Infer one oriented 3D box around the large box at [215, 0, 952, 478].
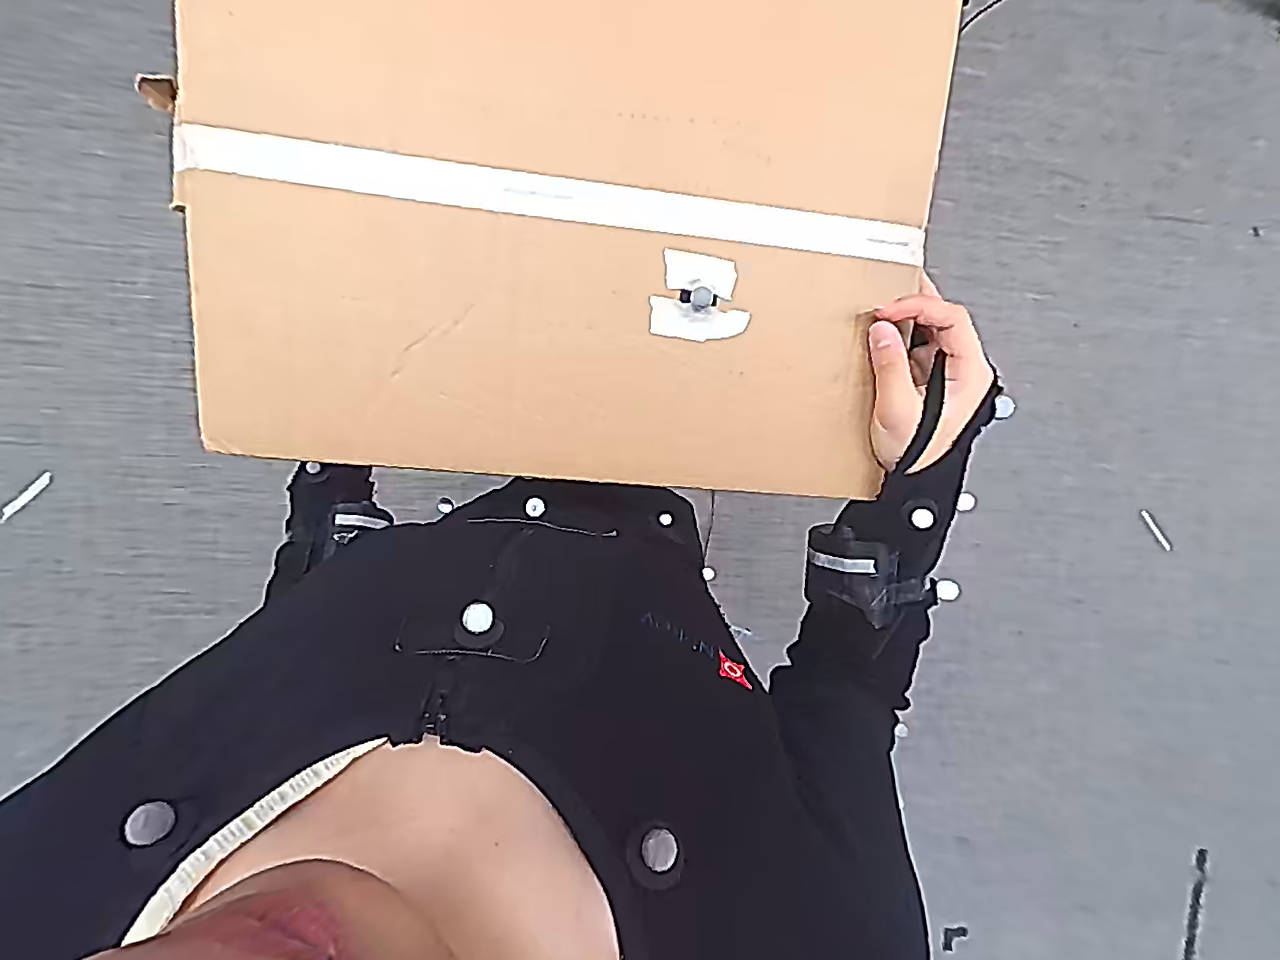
[{"bbox_3d":[-0.045,-0.186,0.455,0.408,0.320,0.320,4,100,-9],"label":"large box"}]
